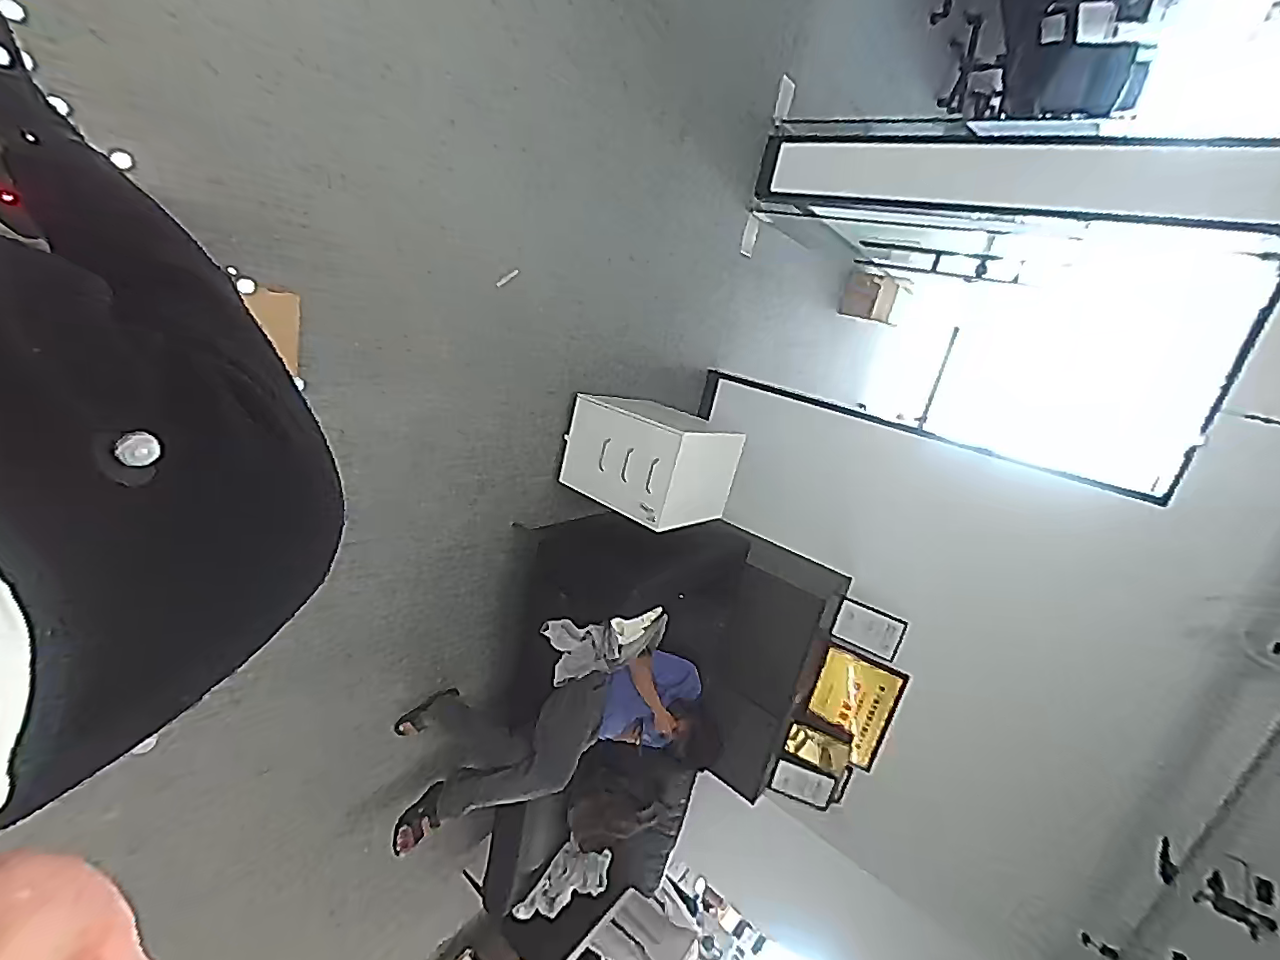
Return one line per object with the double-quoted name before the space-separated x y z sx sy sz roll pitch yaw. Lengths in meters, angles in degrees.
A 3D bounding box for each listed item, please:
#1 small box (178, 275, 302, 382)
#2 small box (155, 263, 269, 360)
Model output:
"small box" -0.823 -0.310 1.111 0.168 0.176 0.179 -9 119 -53
"small box" -0.947 -0.365 1.201 0.168 0.176 0.179 -9 118 -53
